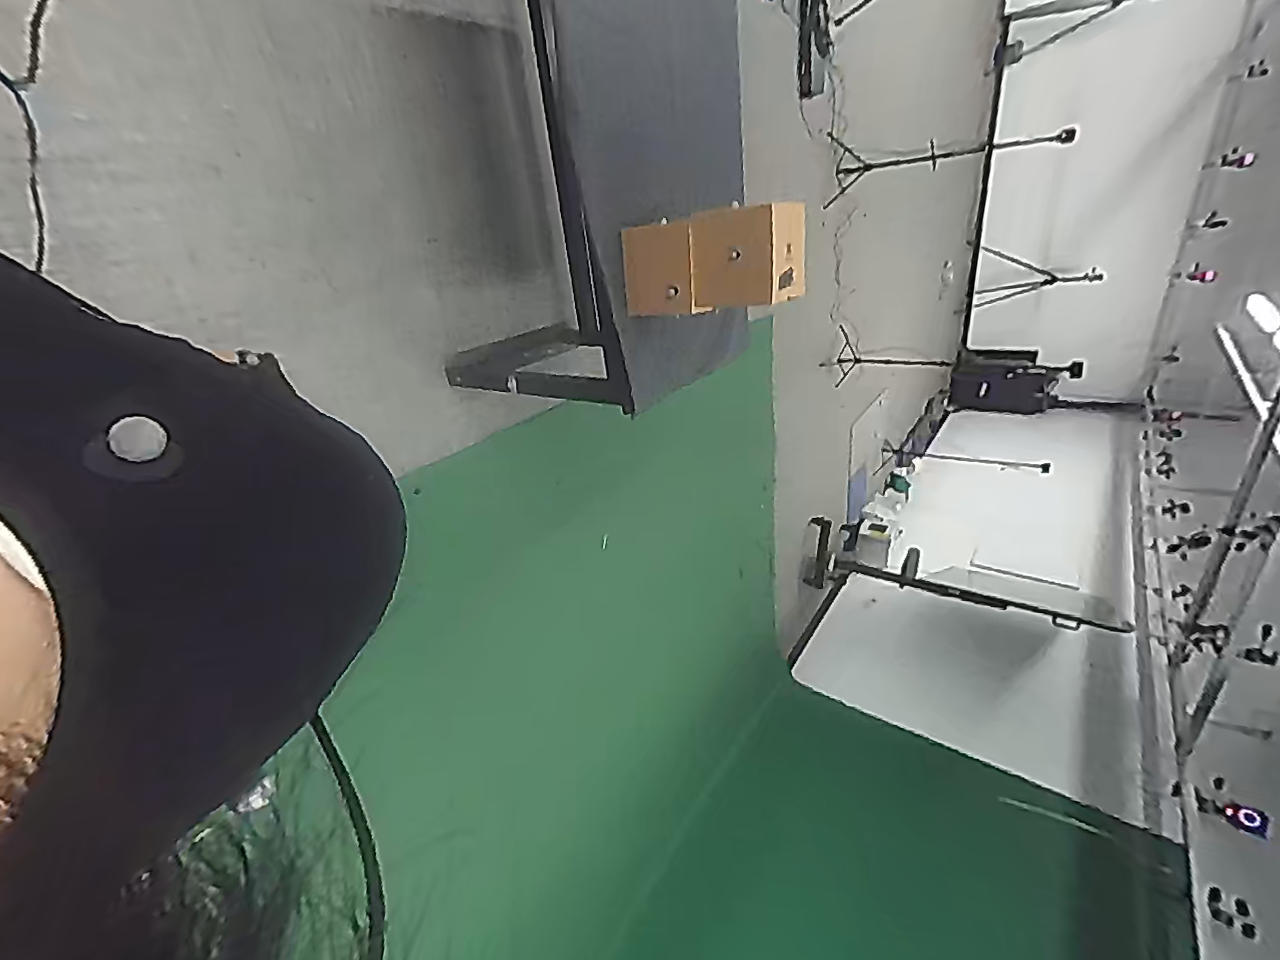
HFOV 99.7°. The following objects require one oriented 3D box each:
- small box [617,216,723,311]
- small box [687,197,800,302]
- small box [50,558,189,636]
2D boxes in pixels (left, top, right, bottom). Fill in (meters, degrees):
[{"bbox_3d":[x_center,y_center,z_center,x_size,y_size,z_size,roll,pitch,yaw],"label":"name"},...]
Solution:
[{"bbox_3d":[0.067,-0.461,1.163,0.168,0.176,0.179,-31,123,-48],"label":"small box"},{"bbox_3d":[0.206,-0.452,1.074,0.168,0.176,0.179,-32,123,-48],"label":"small box"},{"bbox_3d":[-1.012,0.276,1.080,0.179,0.176,0.168,-32,124,-46],"label":"small box"}]
